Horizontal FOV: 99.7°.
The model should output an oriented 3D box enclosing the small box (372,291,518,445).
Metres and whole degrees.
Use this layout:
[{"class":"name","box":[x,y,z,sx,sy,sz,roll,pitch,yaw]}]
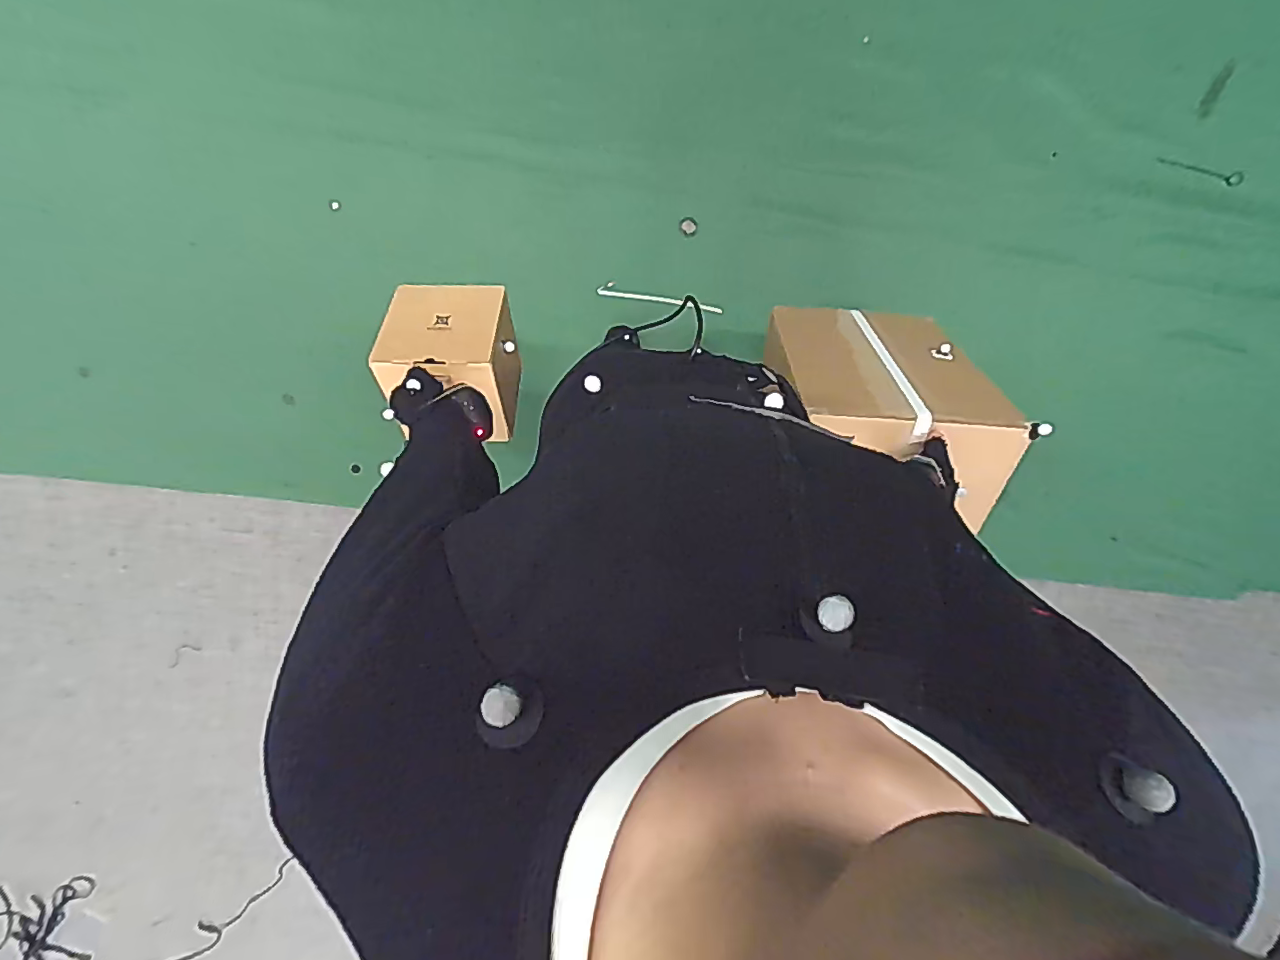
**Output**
[{"class":"small box","box":[-0.292,-0.175,0.856,0.168,0.179,0.176,-1,144,-2]}]
